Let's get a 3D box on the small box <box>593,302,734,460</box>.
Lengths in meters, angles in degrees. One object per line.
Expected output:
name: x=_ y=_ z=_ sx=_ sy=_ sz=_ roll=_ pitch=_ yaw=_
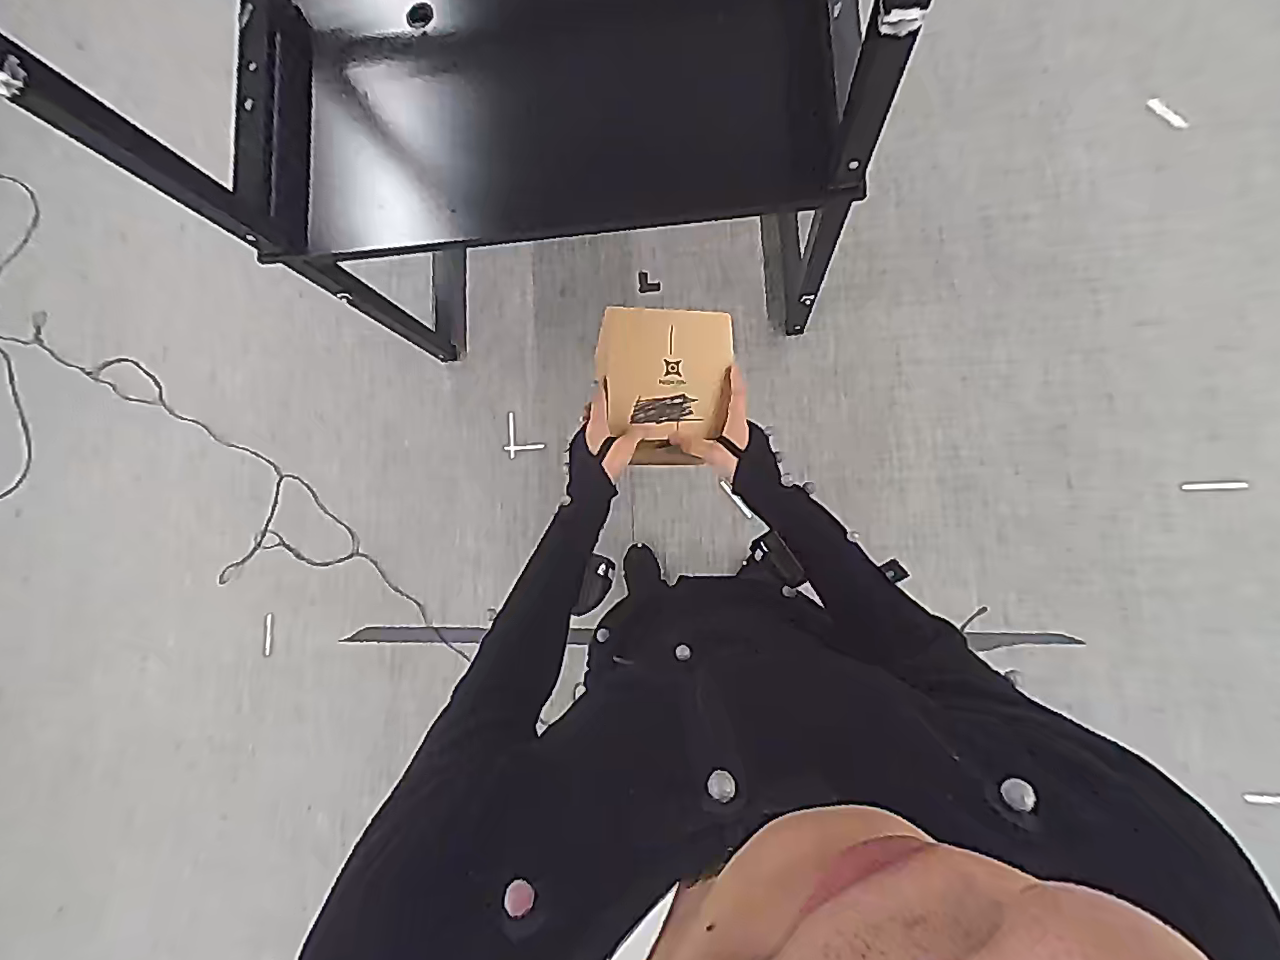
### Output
small box: x=0.024 y=-0.125 z=0.750 sx=0.168 sy=0.176 sz=0.179 roll=0 pitch=81 yaw=-10
